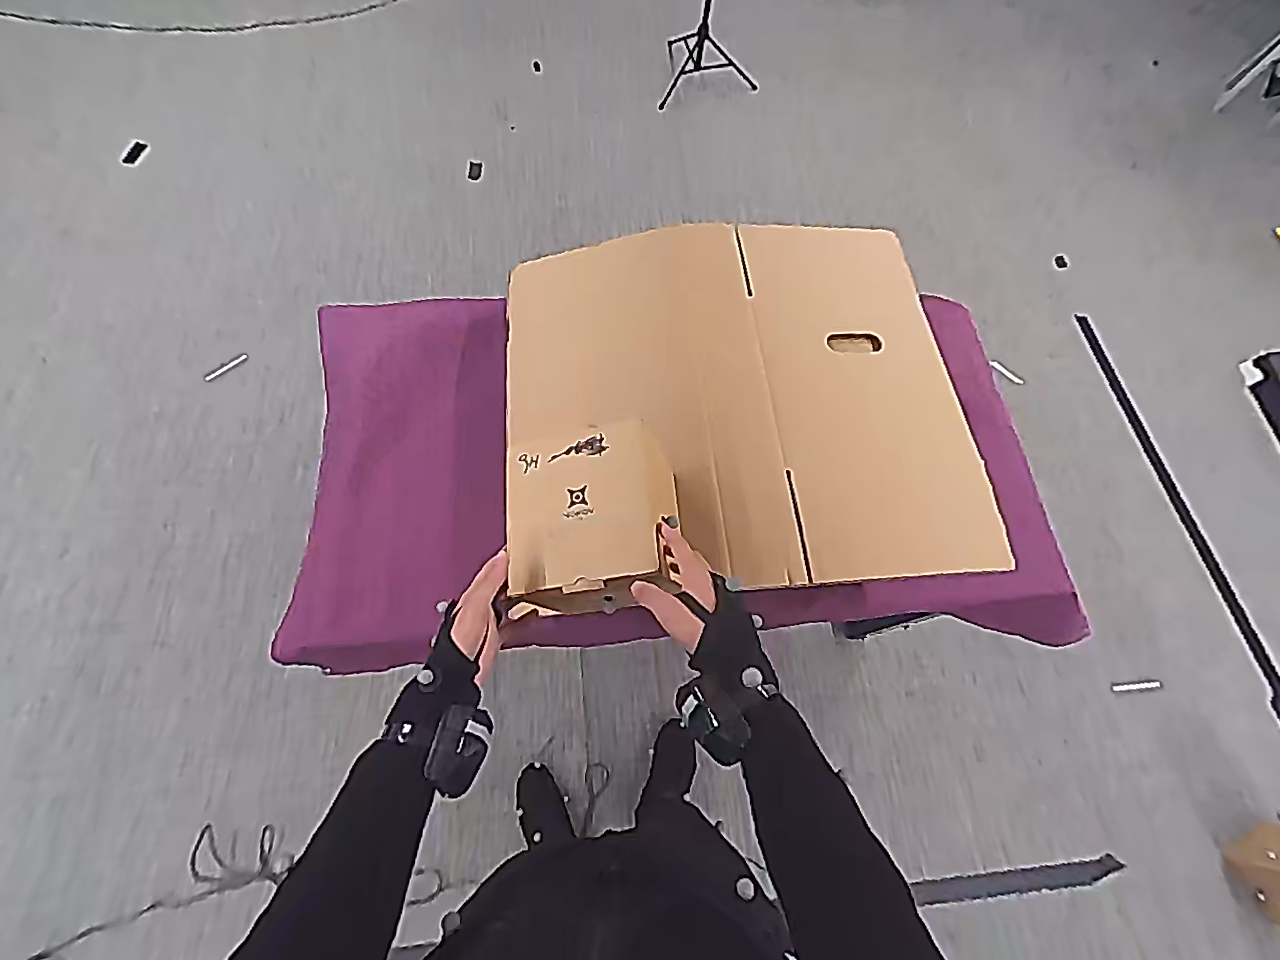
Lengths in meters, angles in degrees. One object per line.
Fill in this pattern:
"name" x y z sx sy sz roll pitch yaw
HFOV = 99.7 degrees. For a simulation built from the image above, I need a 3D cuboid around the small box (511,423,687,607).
"small box" -0.044 0.056 0.656 0.168 0.176 0.179 -10 68 11
